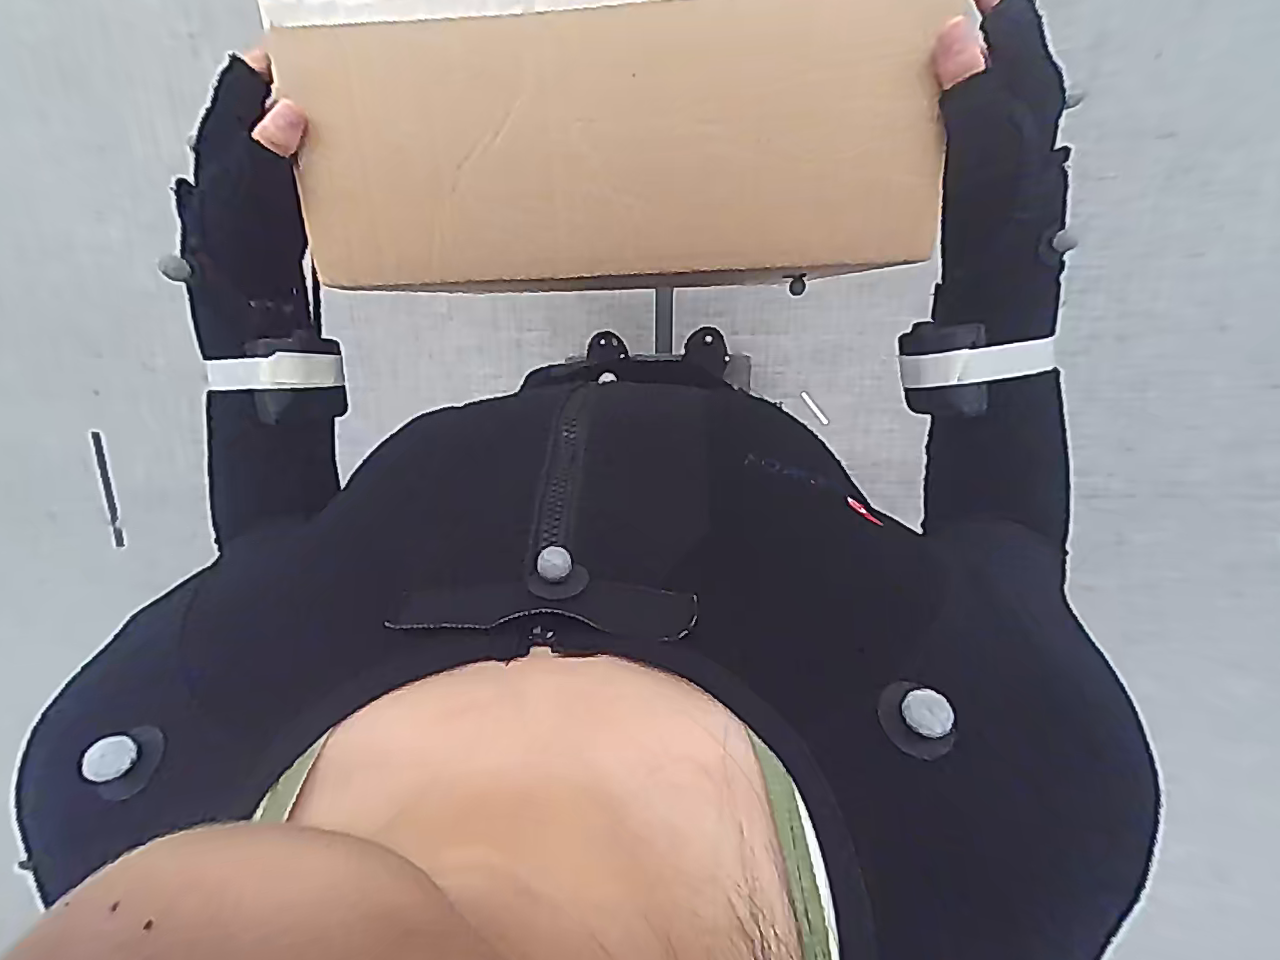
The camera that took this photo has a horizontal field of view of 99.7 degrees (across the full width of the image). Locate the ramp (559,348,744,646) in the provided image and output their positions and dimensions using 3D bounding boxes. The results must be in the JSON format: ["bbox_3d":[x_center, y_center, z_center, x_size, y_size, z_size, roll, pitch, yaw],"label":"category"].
[{"bbox_3d":[0.040,0.109,1.622,0.509,0.206,0.991,-2,105,2],"label":"ramp"}]

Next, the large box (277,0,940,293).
[{"bbox_3d":[-0.015,-0.333,0.461,0.408,0.320,0.320,-2,108,2],"label":"large box"}]
